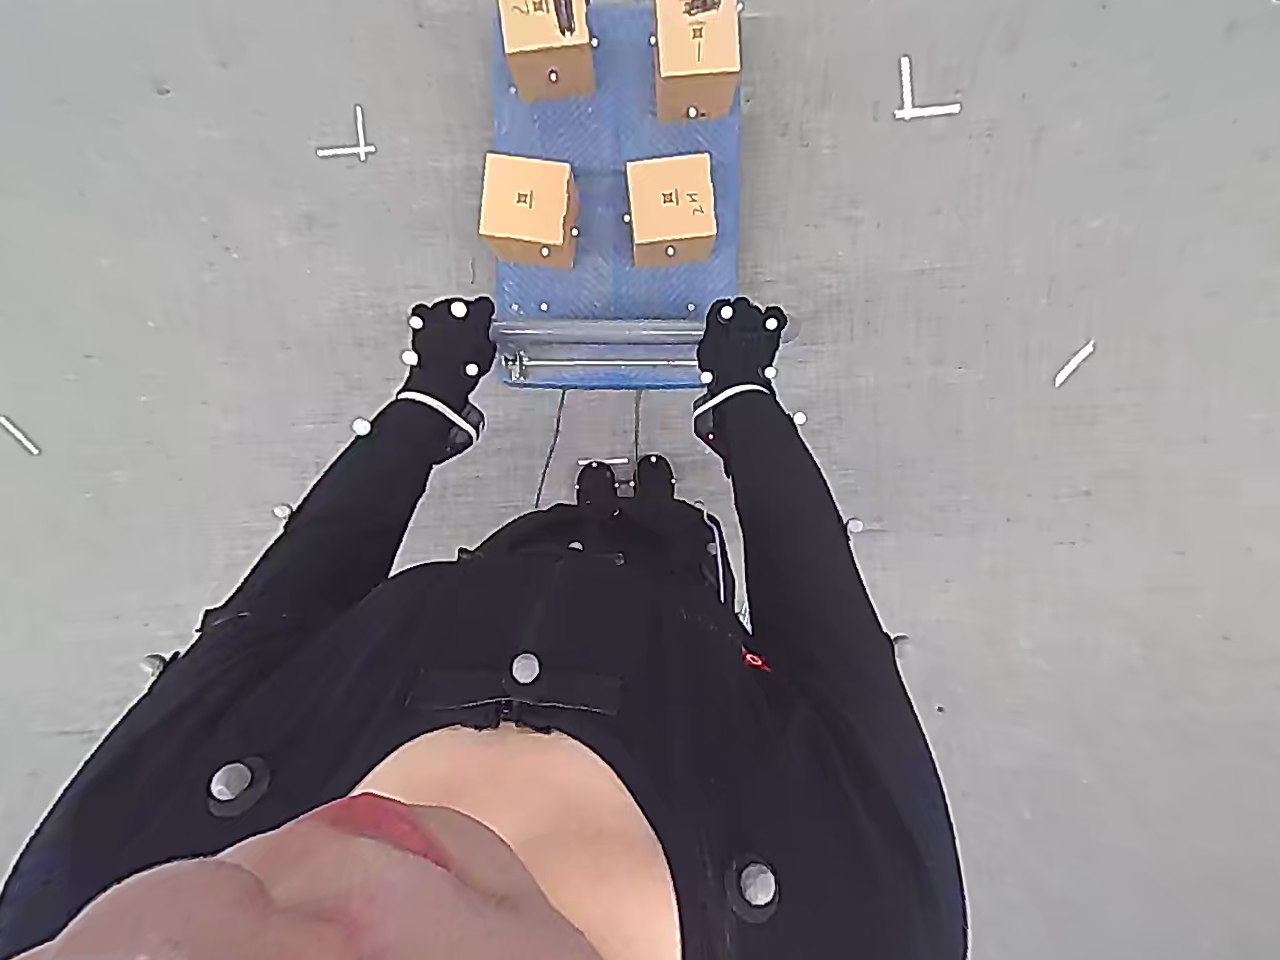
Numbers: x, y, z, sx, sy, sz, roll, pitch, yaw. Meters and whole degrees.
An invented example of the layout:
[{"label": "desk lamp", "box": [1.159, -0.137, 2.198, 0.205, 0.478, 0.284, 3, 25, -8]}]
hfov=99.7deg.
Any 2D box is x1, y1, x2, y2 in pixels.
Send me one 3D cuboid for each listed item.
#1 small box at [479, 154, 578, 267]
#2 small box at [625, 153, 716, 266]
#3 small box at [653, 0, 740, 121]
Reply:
[{"label": "small box", "box": [-0.239, -0.585, 1.193, 0.179, 0.176, 0.168, 6, 93, -2]}, {"label": "small box", "box": [0.066, -0.586, 1.191, 0.179, 0.176, 0.168, -6, 94, 1]}, {"label": "small box", "box": [0.117, -0.919, 1.168, 0.168, 0.176, 0.179, -4, 95, 1]}]
